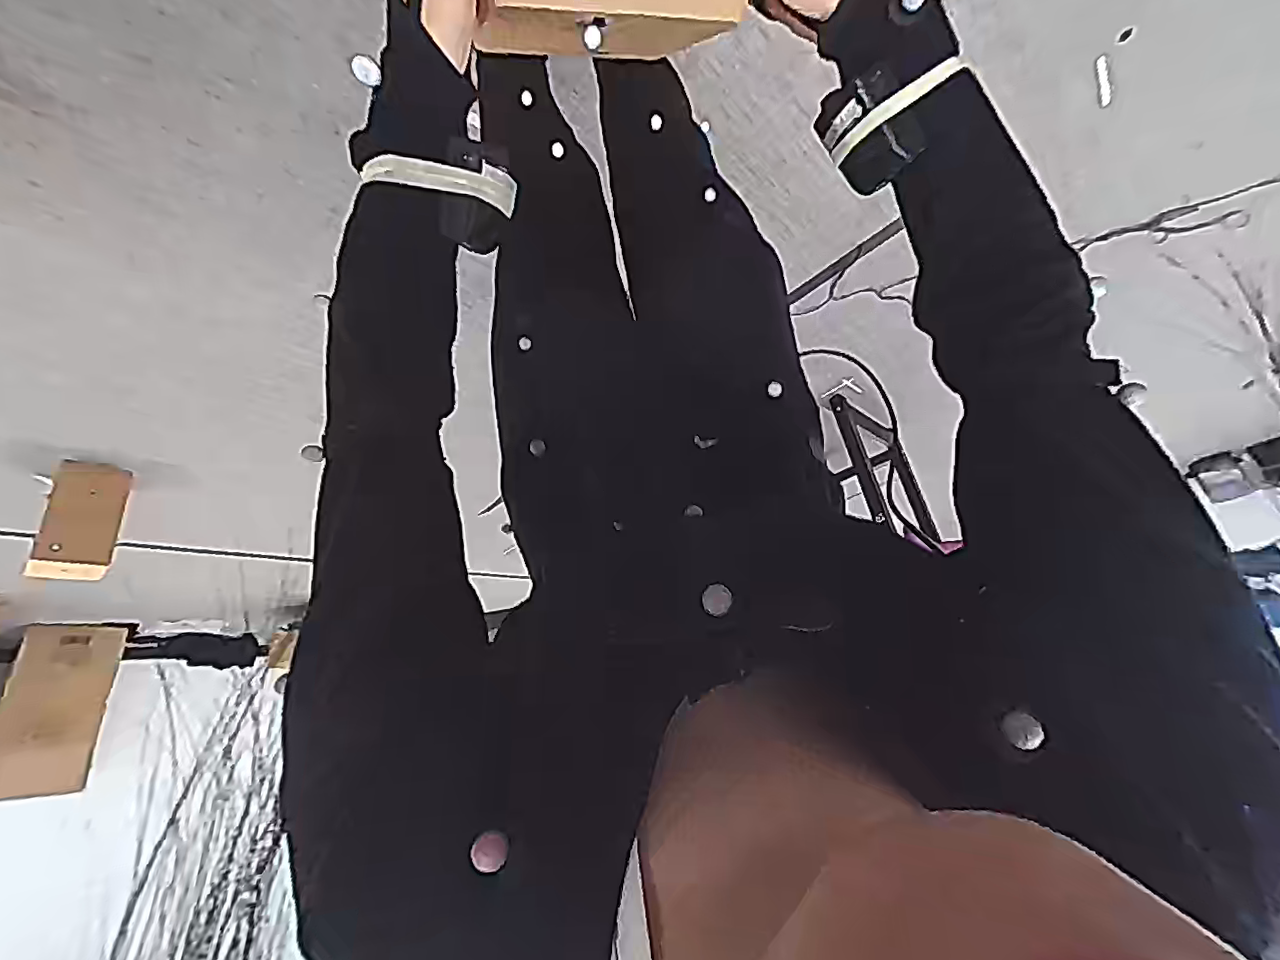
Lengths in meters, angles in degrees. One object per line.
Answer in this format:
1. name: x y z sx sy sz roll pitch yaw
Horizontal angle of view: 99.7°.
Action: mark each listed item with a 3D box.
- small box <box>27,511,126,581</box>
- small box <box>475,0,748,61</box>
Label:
1. small box: -1.781 0.208 1.713 0.168 0.176 0.179 -27 151 33
2. small box: -0.030 -0.408 0.362 0.168 0.176 0.179 -9 122 -16
